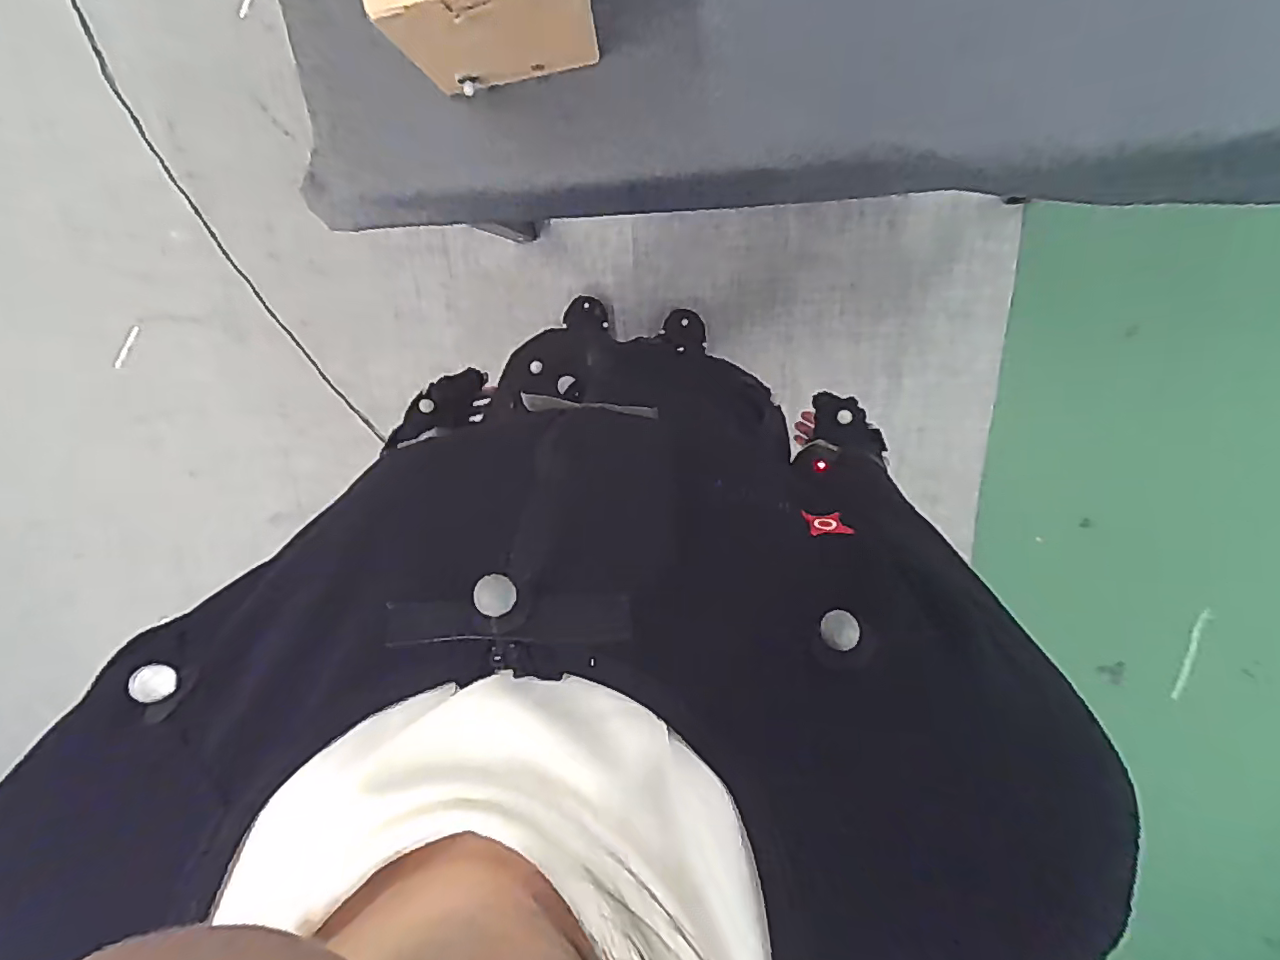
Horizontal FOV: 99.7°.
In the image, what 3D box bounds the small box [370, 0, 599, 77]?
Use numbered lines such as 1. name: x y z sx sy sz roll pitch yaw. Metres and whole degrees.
1. small box: -0.136 -0.477 0.457 0.168 0.176 0.179 -8 107 5
